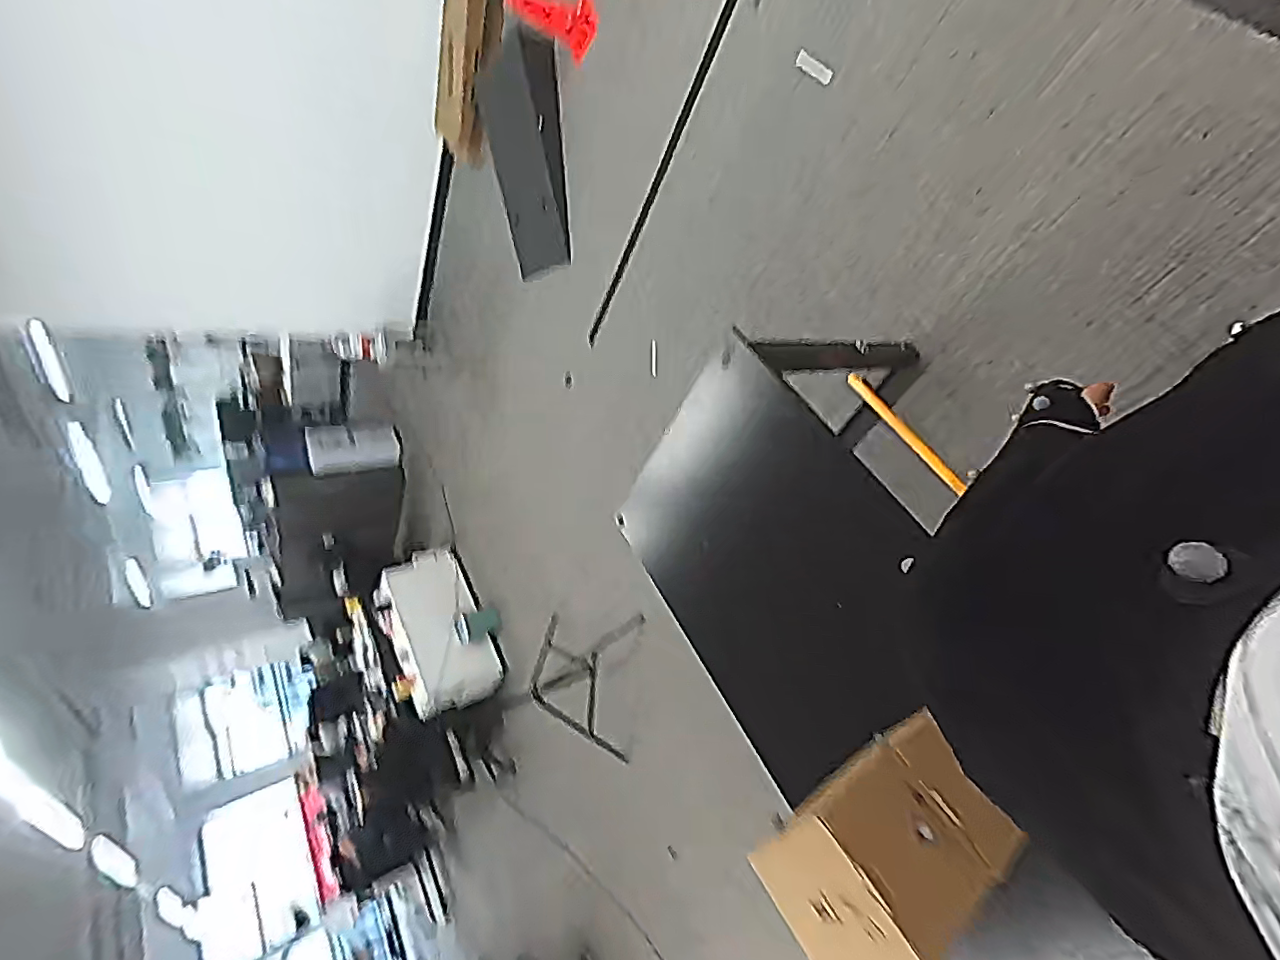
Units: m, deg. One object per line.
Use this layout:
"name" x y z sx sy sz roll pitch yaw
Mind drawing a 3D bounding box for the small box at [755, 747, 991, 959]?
"small box" 0.284 0.469 0.667 0.168 0.176 0.179 52 135 30

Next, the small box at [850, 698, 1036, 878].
"small box" 0.415 0.442 0.765 0.168 0.176 0.179 53 135 30
